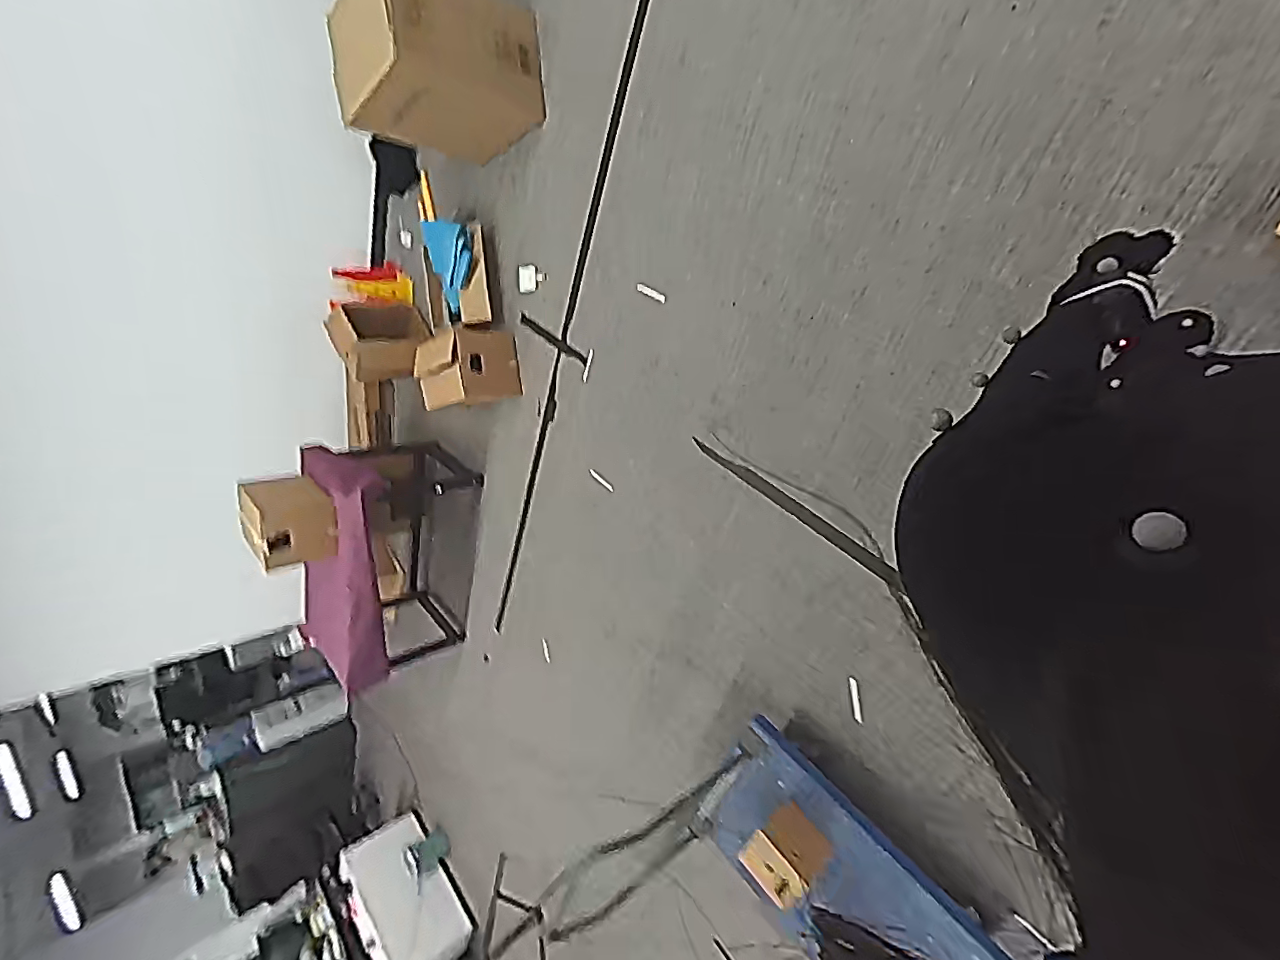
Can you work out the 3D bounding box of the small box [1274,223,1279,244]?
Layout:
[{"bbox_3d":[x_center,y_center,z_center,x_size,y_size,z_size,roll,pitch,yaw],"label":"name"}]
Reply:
[{"bbox_3d":[1.165,-0.448,0.843,0.168,0.176,0.179,42,125,30],"label":"small box"}]

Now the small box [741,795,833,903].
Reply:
[{"bbox_3d":[0.442,1.097,1.617,0.179,0.176,0.168,41,125,32],"label":"small box"}]

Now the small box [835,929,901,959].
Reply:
[{"bbox_3d":[0.635,1.397,1.490,0.179,0.176,0.168,39,125,32],"label":"small box"}]
